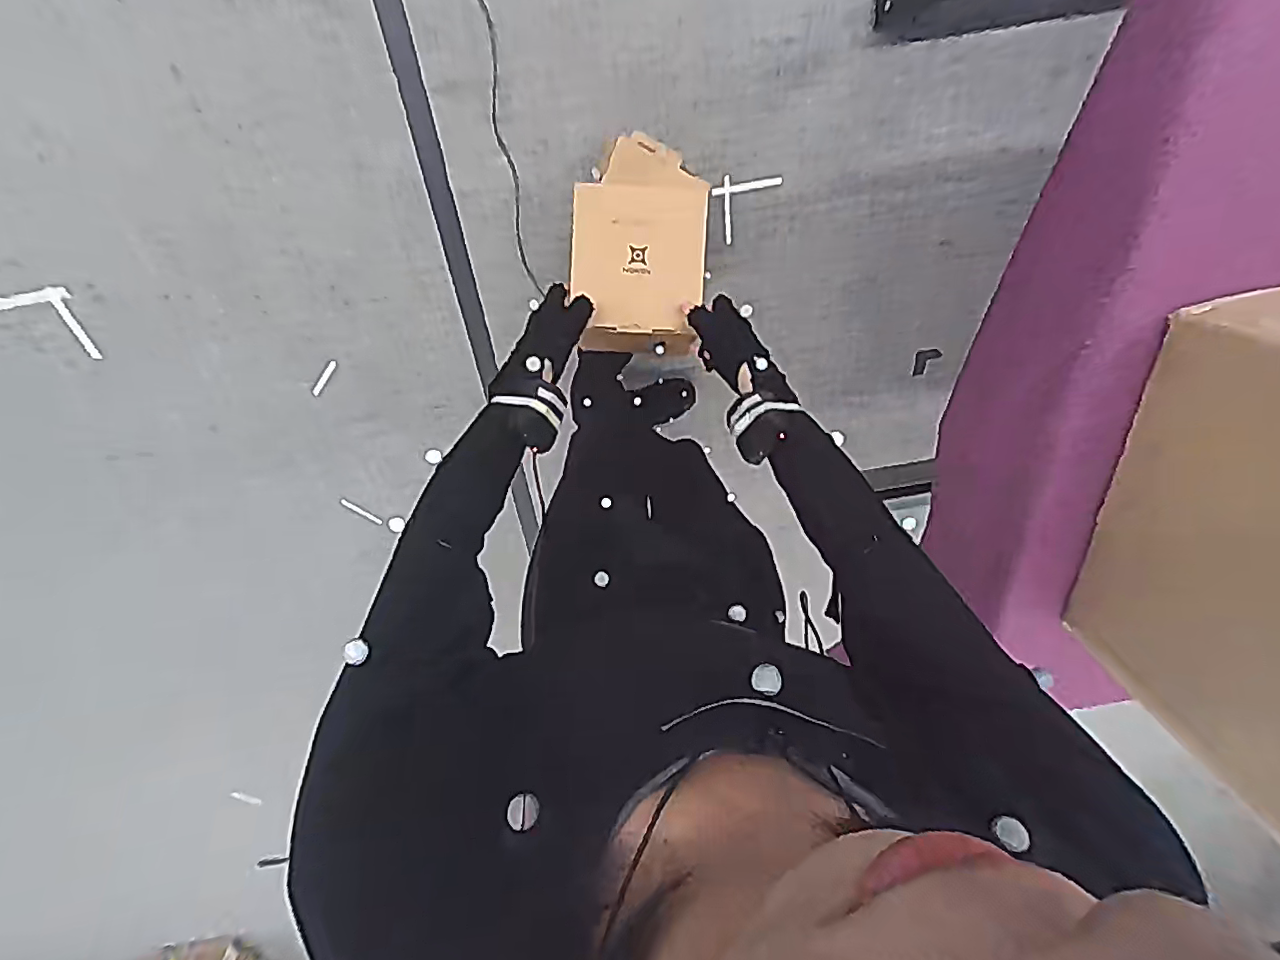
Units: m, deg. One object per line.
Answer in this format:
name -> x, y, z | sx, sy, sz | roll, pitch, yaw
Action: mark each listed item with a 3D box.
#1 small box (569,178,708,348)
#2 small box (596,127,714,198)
small box -> -0.003, -0.281, 0.737 | 0.168, 0.176, 0.179 | 2, 94, -1
small box -> 0.002, -0.476, 0.936 | 0.168, 0.176, 0.179 | 20, 118, -18
